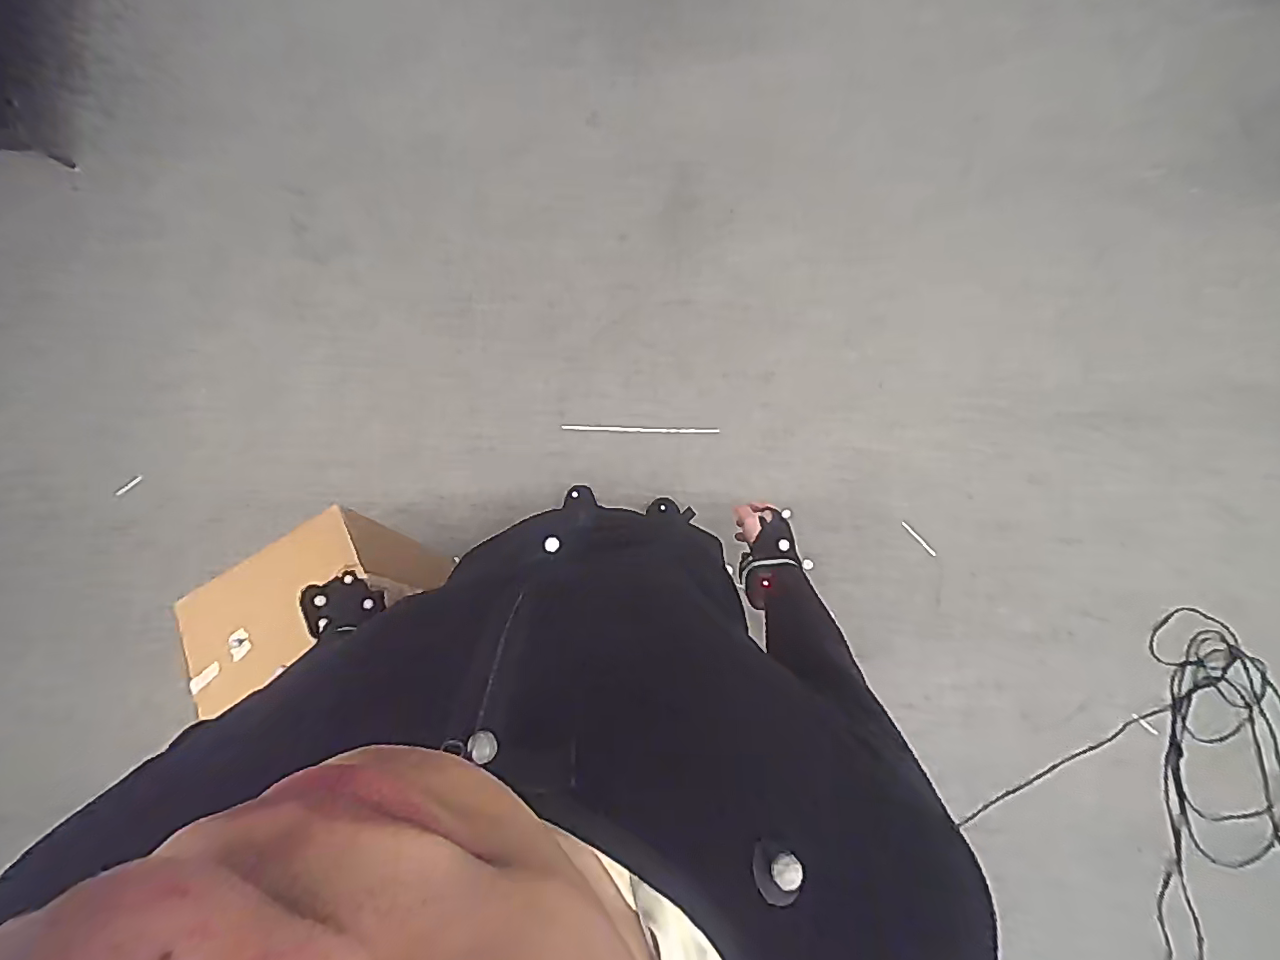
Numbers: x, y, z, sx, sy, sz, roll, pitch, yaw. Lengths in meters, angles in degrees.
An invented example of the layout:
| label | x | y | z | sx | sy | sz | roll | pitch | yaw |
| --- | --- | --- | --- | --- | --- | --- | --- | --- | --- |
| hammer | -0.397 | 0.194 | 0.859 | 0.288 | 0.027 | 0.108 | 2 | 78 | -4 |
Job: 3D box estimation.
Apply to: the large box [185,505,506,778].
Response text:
| label | x | y | z | sx | sy | sz | roll | pitch | yaw |
| --- | --- | --- | --- | --- | --- | --- | --- | --- | --- |
| large box | -0.520 | 0.303 | 1.025 | 0.320 | 0.408 | 0.320 | -33 | 68 | -4 |

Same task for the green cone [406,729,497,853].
| label | x | y | z | sx | sy | sz | roll | pitch | yaw |
| --- | --- | --- | --- | --- | --- | --- | --- | --- | --- |
| green cone | -0.541 | 0.861 | 1.465 | 0.200 | 0.368 | 0.202 | 8 | 91 | 0 |
